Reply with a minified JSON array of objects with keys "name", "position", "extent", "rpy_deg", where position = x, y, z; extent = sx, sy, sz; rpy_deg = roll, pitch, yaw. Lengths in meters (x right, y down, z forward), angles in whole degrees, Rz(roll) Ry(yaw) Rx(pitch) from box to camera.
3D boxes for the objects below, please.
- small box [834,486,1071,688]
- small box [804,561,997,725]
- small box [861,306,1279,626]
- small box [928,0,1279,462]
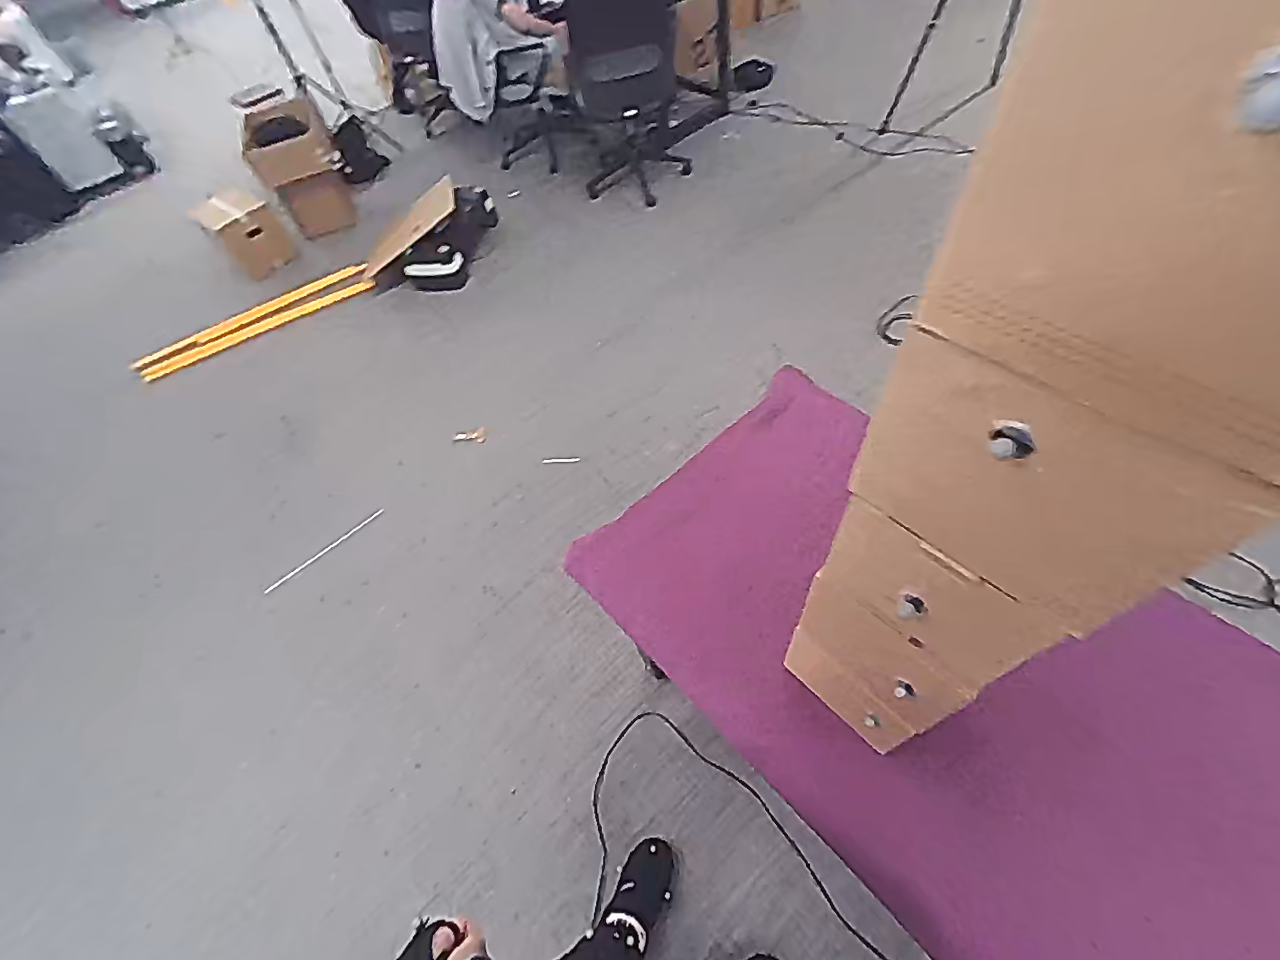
[{"name":"small box","position":[0.296,0.054,0.485],"extent":[0.179,0.176,0.168],"rpy_deg":[-40,59,-18]},{"name":"small box","position":[0.311,0.151,0.614],"extent":[0.168,0.176,0.179],"rpy_deg":[-38,58,-18]},{"name":"small box","position":[0.274,-0.038,0.350],"extent":[0.168,0.176,0.179],"rpy_deg":[-39,59,-19]},{"name":"small box","position":[0.260,-0.132,0.218],"extent":[0.168,0.176,0.179],"rpy_deg":[-39,58,-19]}]
